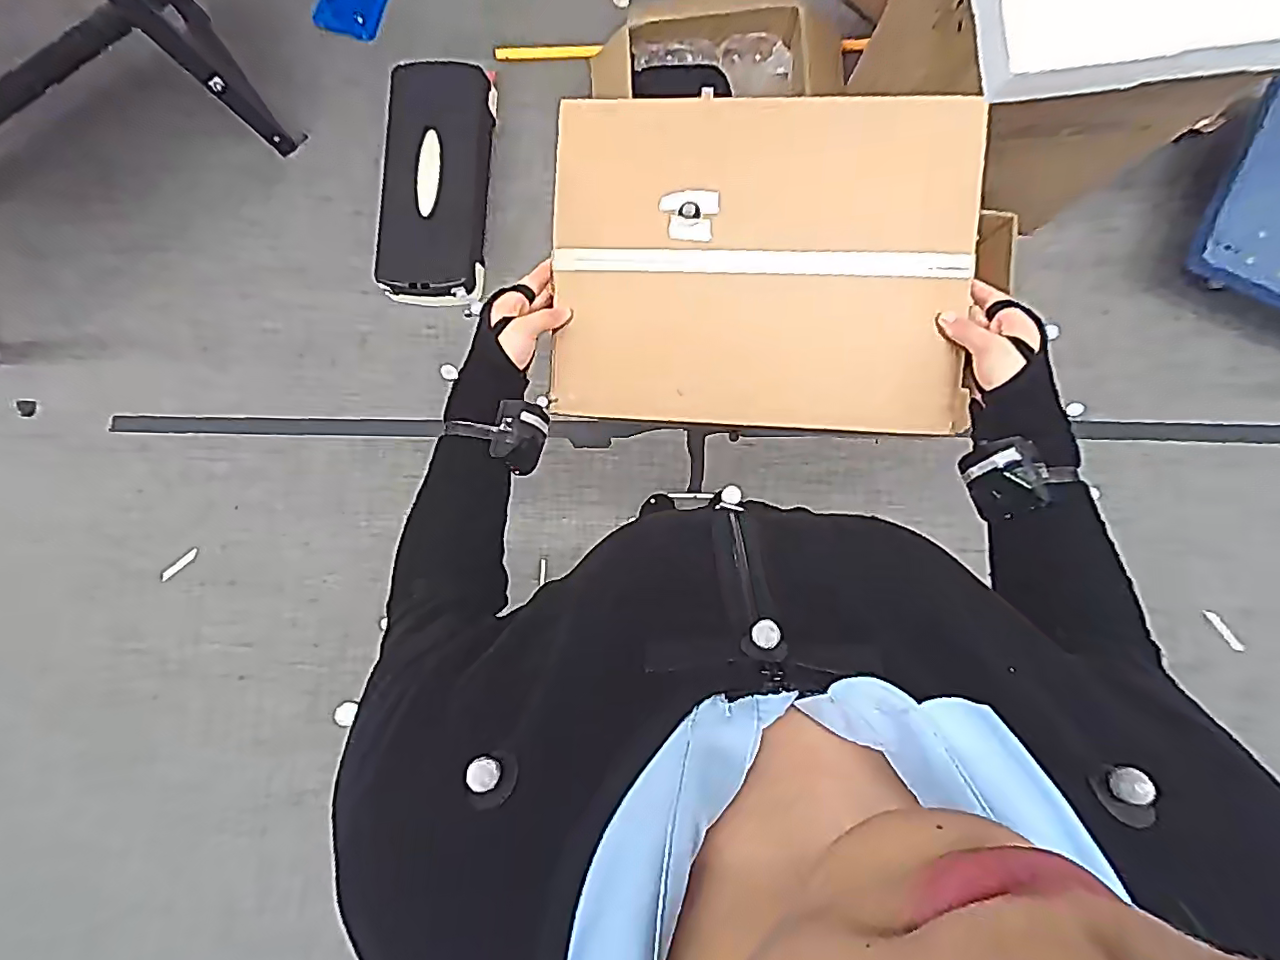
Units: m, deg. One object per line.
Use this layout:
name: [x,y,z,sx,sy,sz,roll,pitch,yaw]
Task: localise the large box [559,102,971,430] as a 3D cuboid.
large box: [0.133,-0.223,0.692,0.408,0.320,0.320,3,93,7]
